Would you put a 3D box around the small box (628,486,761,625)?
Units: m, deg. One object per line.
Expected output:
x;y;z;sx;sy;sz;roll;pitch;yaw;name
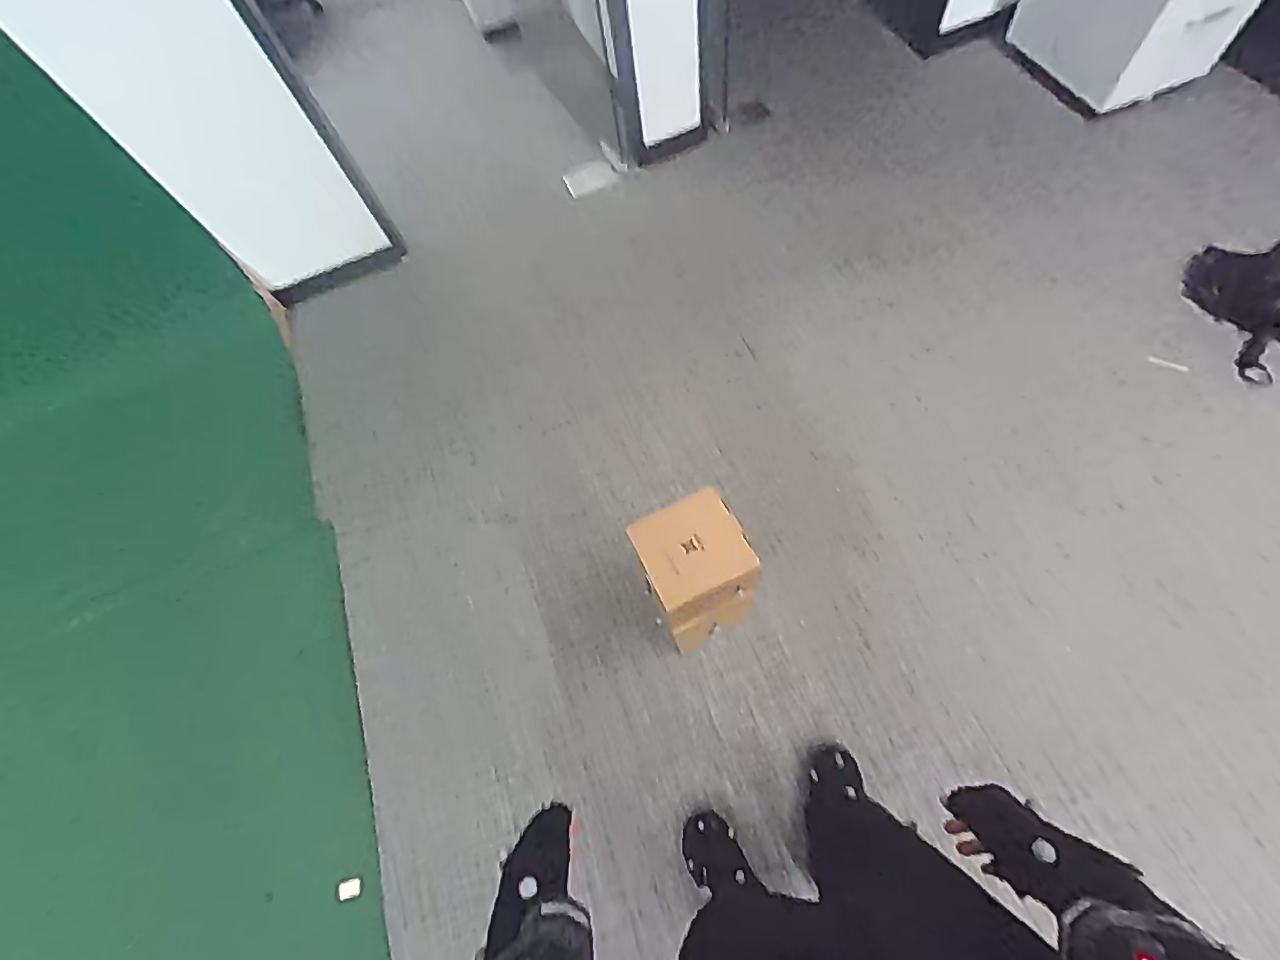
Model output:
0.098;0.143;0.985;0.179;0.176;0.168;-27;64;-4;small box

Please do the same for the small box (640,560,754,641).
0.117;0.216;1.129;0.179;0.176;0.168;-26;65;-5;small box

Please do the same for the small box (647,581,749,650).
0.136;0.279;1.278;0.179;0.176;0.168;-30;65;-7;small box
